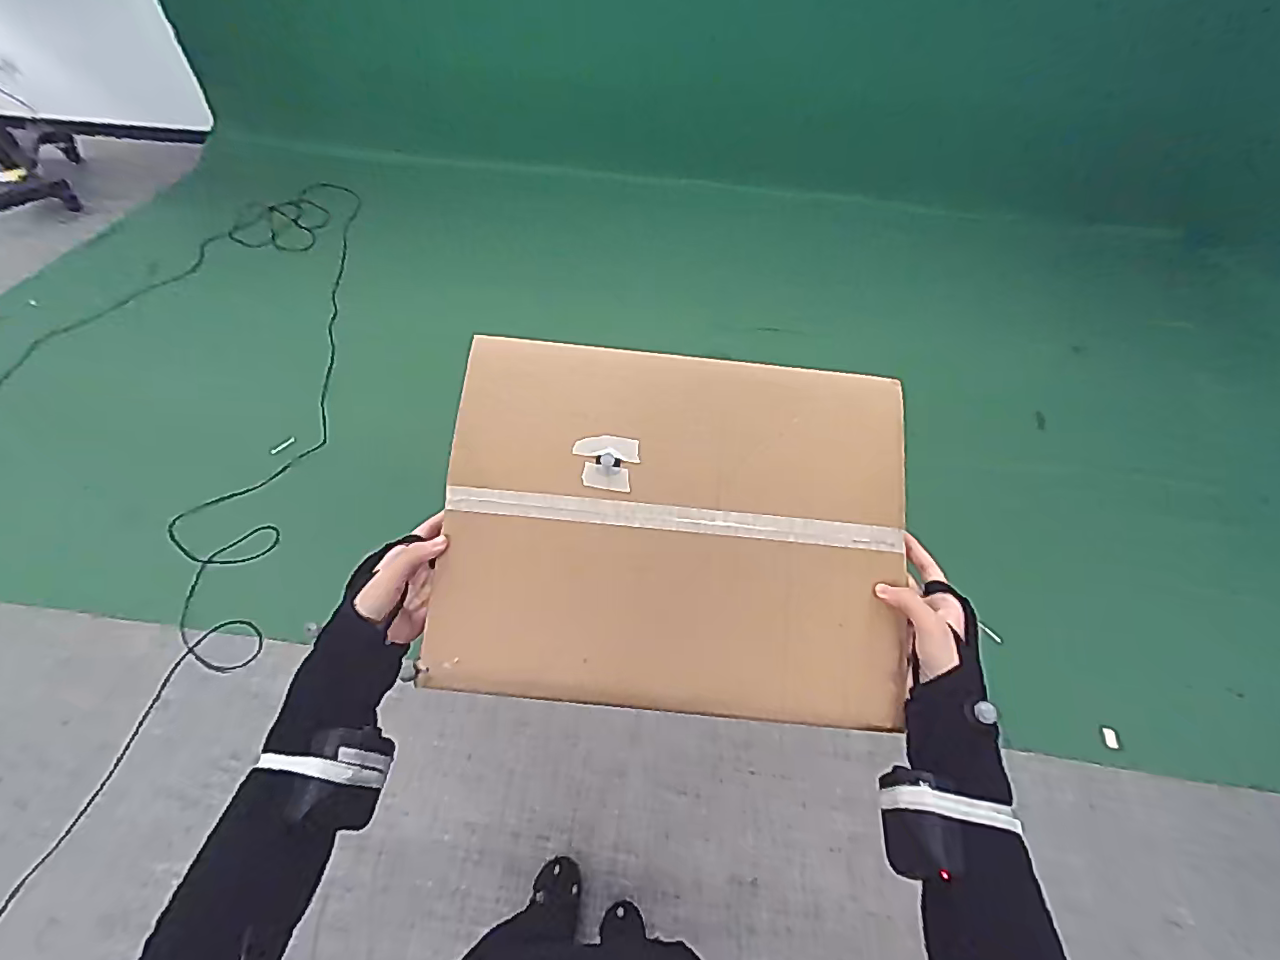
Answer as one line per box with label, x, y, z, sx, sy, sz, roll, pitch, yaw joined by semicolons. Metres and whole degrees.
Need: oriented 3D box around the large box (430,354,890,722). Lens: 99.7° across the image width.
large box;0.028;0.071;0.637;0.408;0.320;0.320;5;77;0
